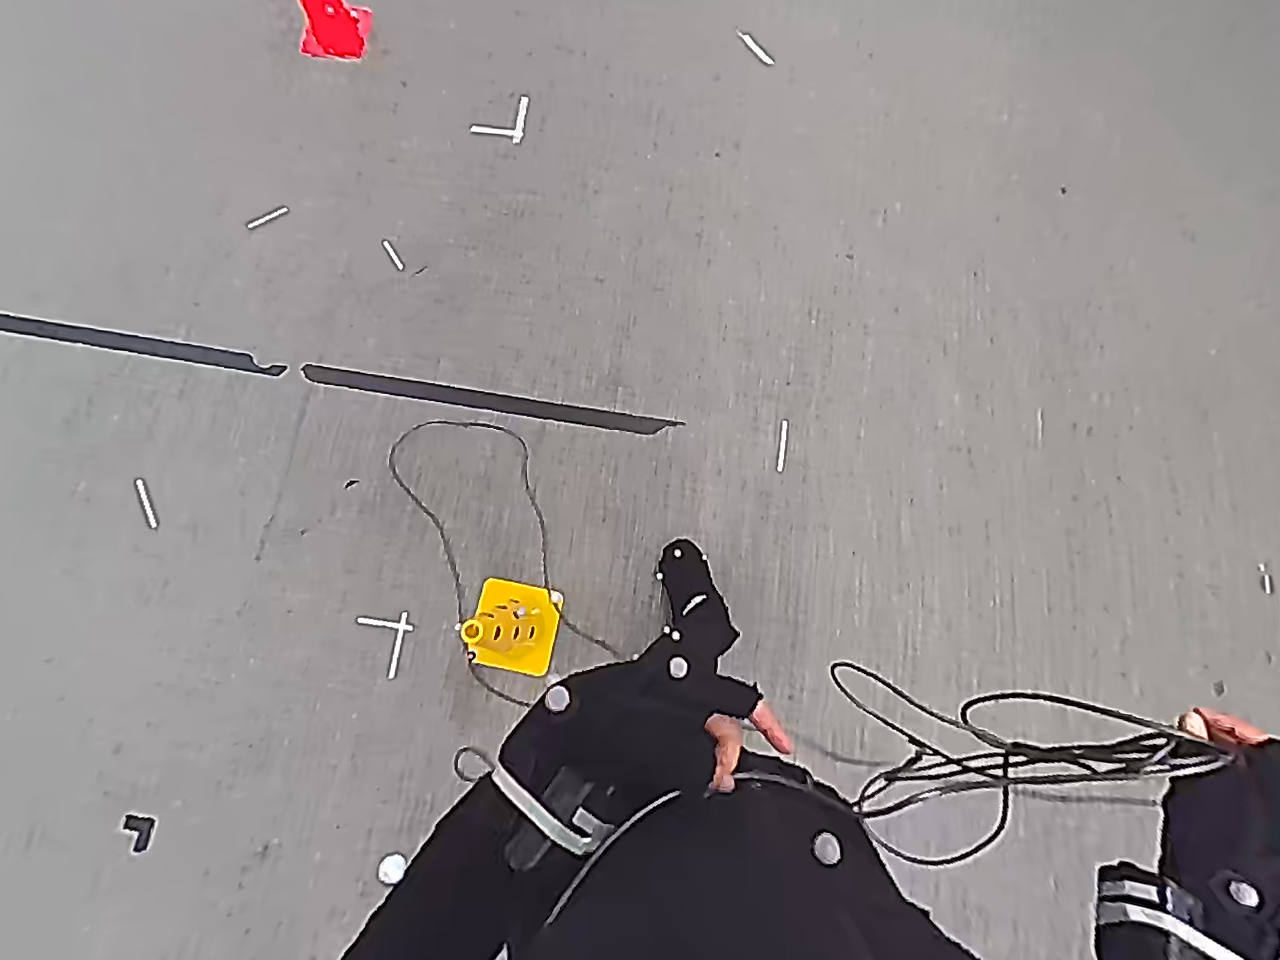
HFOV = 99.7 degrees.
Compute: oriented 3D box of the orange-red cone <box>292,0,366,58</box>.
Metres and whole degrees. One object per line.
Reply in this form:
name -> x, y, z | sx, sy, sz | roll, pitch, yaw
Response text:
orange-red cone -> -0.986, -1.459, 1.549 | 0.199, 0.360, 0.198 | 4, 76, 2
